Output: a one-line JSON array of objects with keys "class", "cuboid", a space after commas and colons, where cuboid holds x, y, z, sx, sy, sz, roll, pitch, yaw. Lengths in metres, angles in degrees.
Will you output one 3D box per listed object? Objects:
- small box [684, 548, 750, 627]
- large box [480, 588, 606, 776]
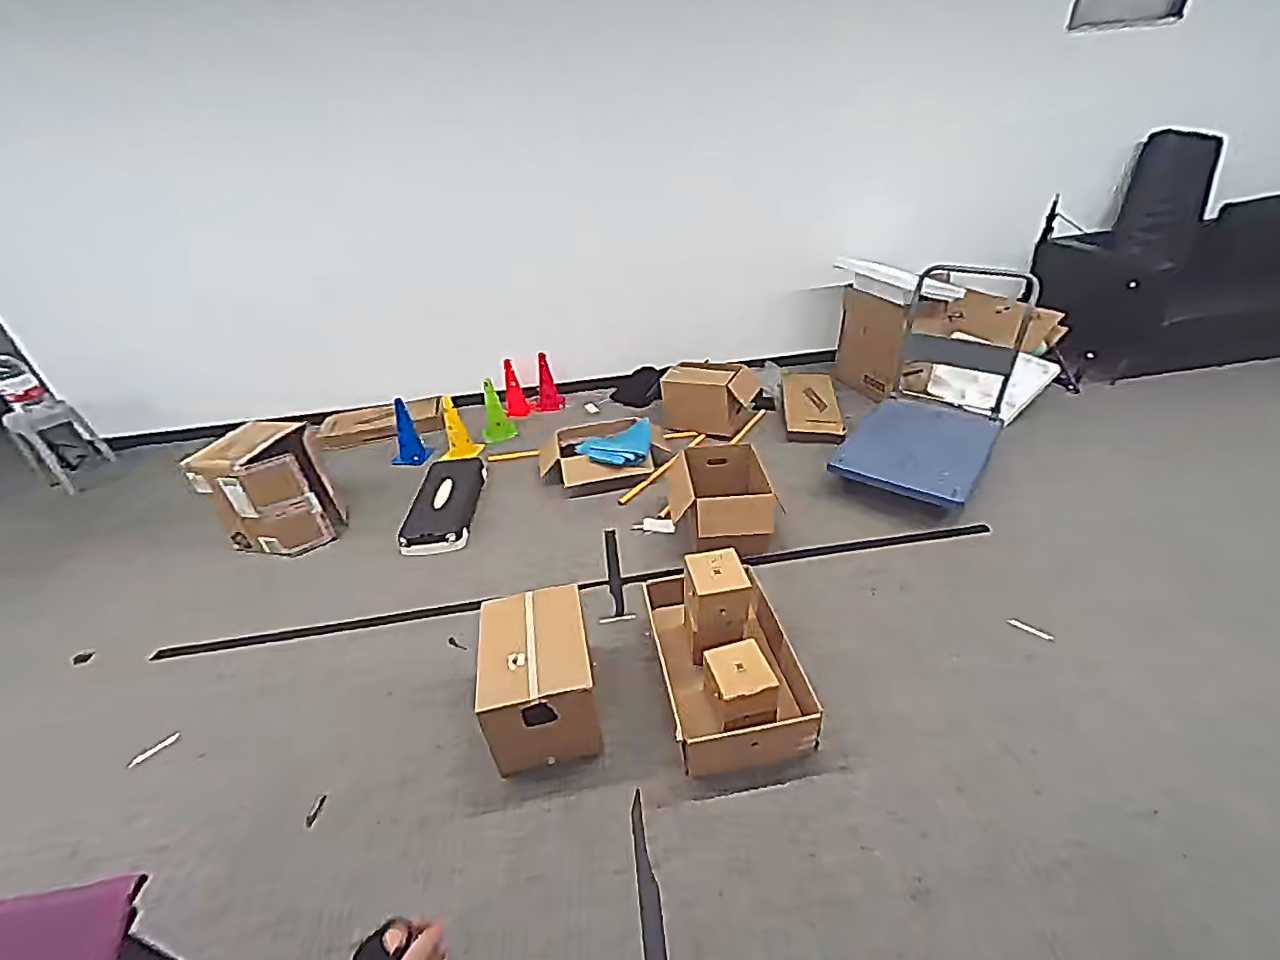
[{"class": "small box", "cuboid": [0.239, 0.345, 1.702, 0.168, 0.176, 0.179, -8, 35, -7]}, {"class": "large box", "cuboid": [-0.297, 0.601, 1.650, 0.320, 0.320, 0.408, -11, 35, -7]}]
